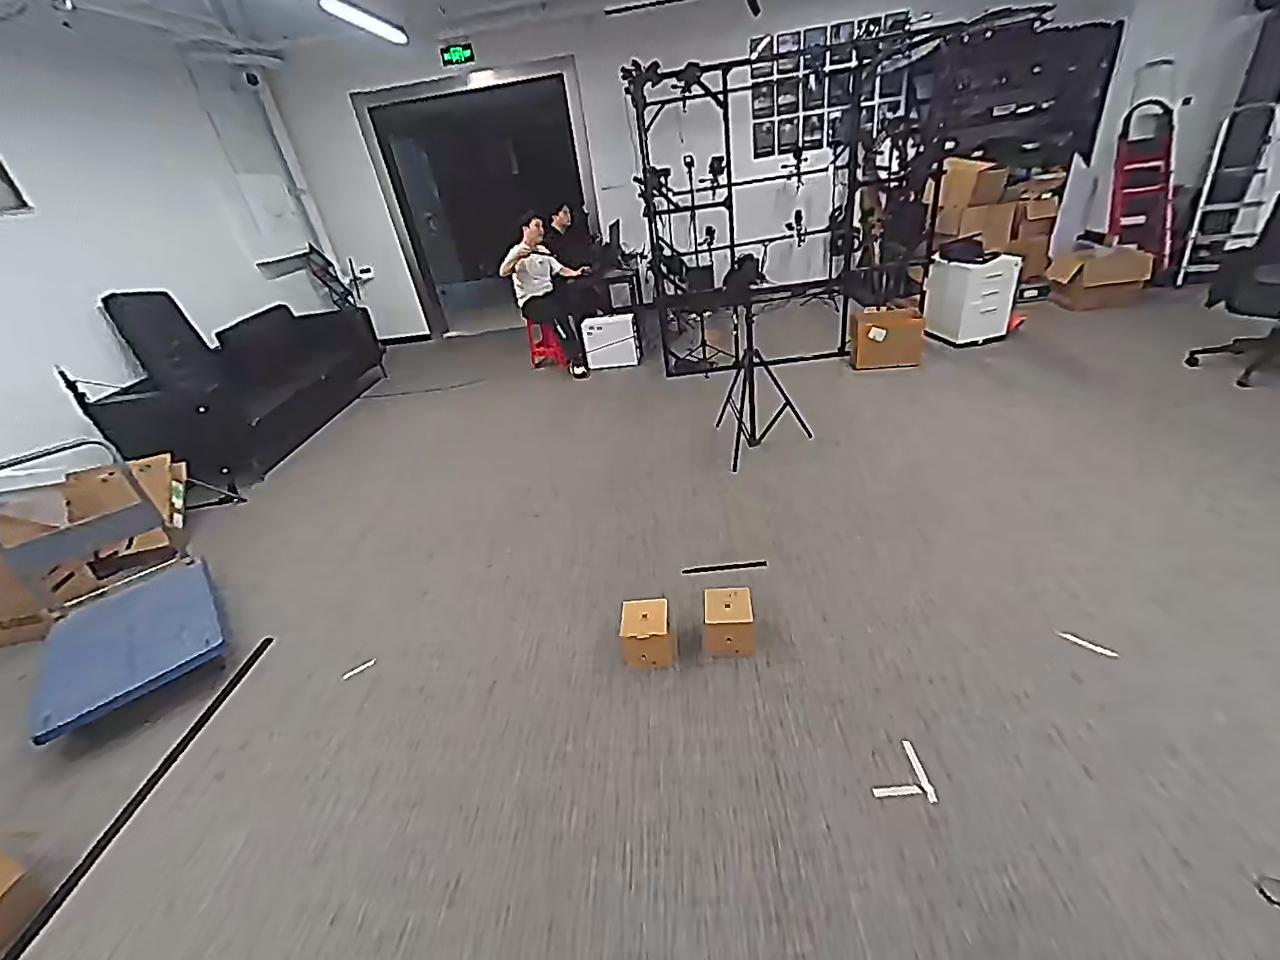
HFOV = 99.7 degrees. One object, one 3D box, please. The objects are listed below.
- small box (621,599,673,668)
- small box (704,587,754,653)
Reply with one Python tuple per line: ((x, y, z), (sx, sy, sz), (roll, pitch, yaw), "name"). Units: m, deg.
((0.029, 0.559, 1.970), (0.168, 0.176, 0.179), (-6, 30, 6), "small box")
((0.323, 0.512, 1.963), (0.168, 0.176, 0.179), (-4, 30, 8), "small box")
